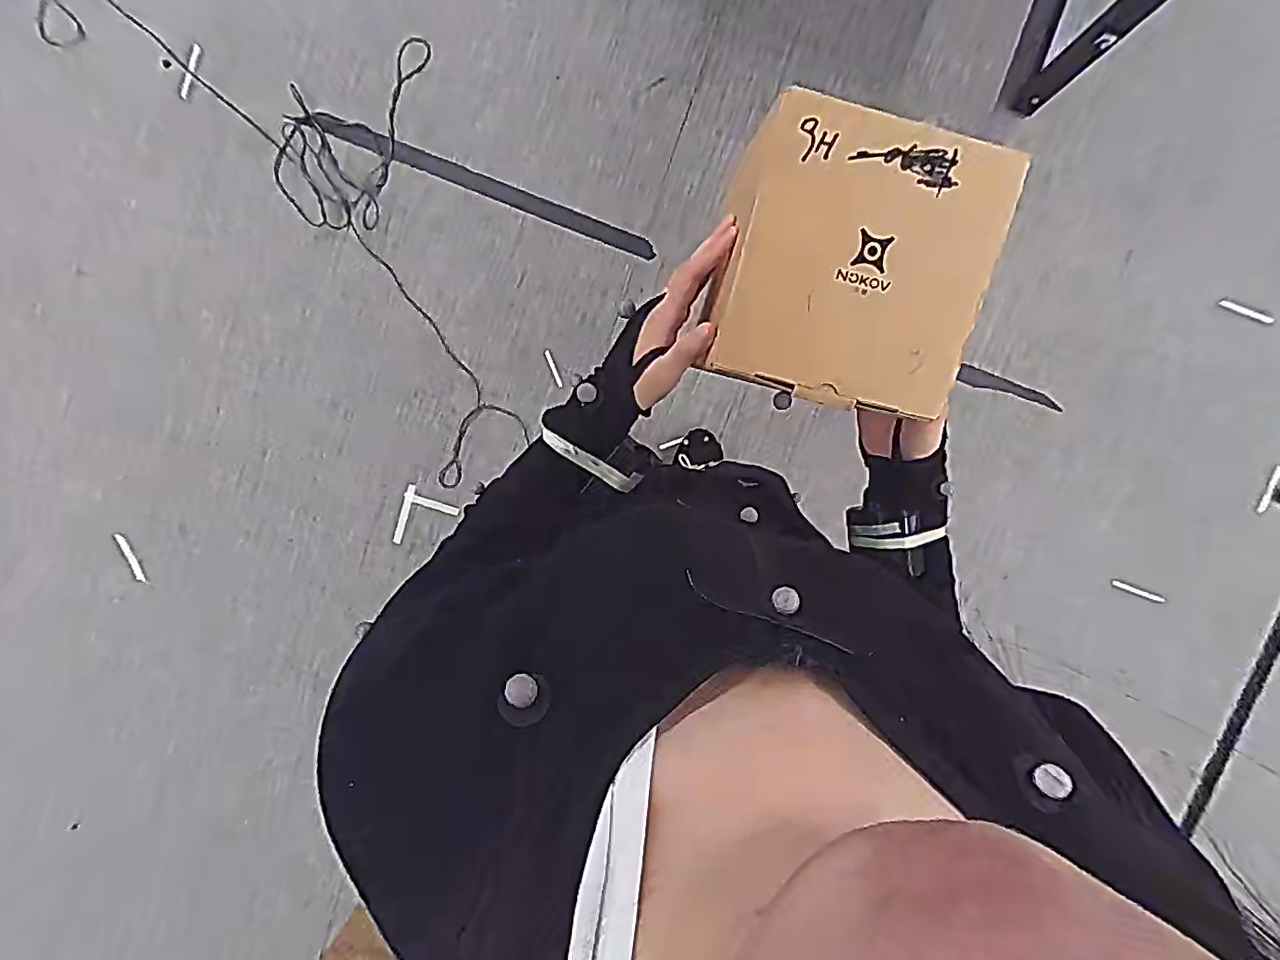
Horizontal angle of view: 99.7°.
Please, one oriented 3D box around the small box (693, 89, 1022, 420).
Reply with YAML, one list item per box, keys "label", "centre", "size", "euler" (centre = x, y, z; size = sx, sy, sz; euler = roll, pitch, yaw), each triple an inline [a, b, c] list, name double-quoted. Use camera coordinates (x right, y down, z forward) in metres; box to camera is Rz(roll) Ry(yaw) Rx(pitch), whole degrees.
- label: "small box"
  centre: [0.146, -0.161, 0.436]
  size: [0.168, 0.176, 0.179]
  euler: [13, 102, -5]
